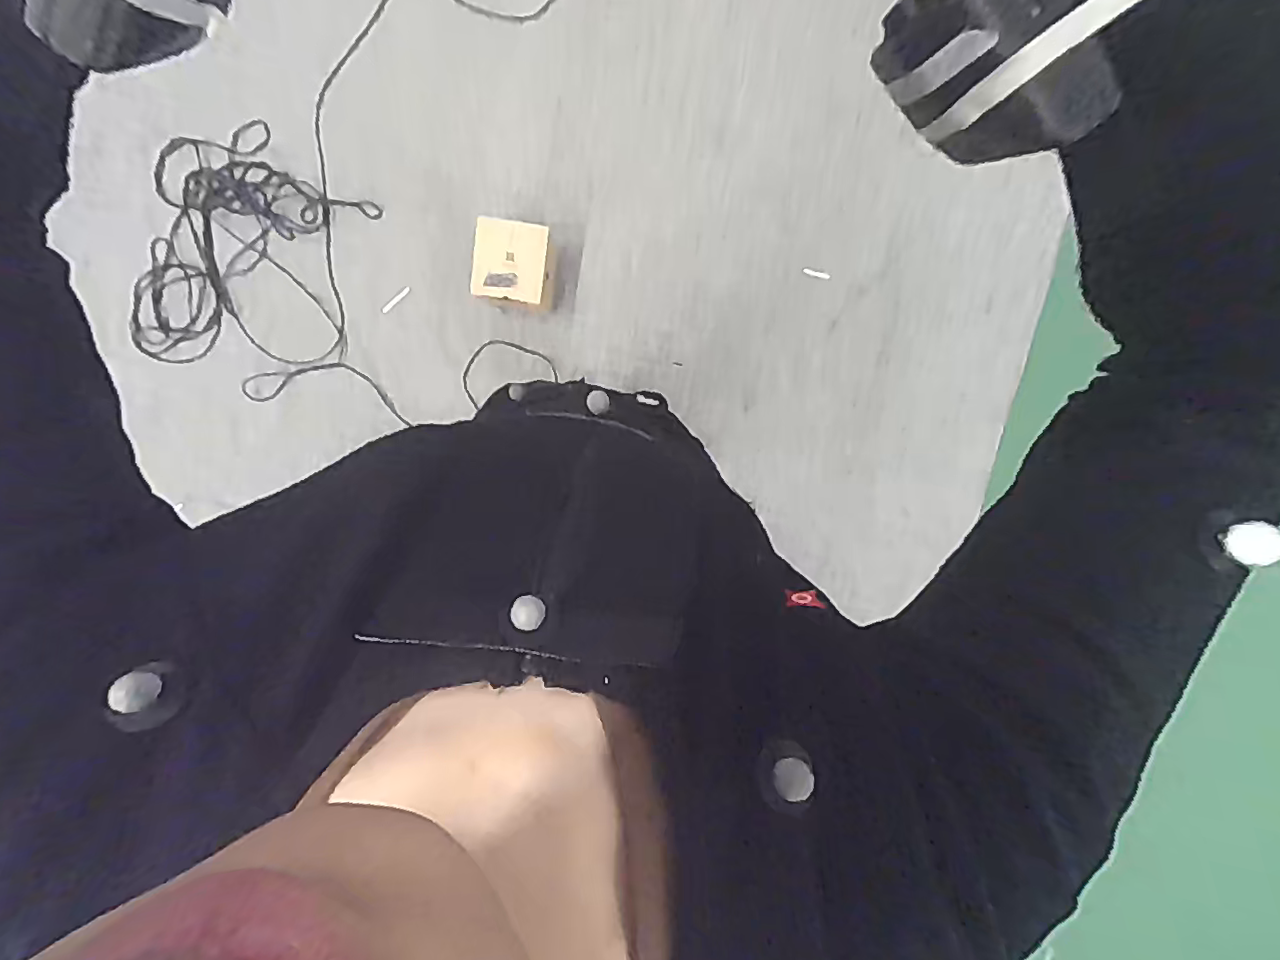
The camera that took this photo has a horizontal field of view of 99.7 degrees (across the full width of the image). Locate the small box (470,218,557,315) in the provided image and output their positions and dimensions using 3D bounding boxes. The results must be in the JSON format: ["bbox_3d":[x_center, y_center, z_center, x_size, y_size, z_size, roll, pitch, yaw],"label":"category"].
[{"bbox_3d":[-0.300,-0.507,1.310,0.168,0.176,0.179,8,98,-2],"label":"small box"}]
